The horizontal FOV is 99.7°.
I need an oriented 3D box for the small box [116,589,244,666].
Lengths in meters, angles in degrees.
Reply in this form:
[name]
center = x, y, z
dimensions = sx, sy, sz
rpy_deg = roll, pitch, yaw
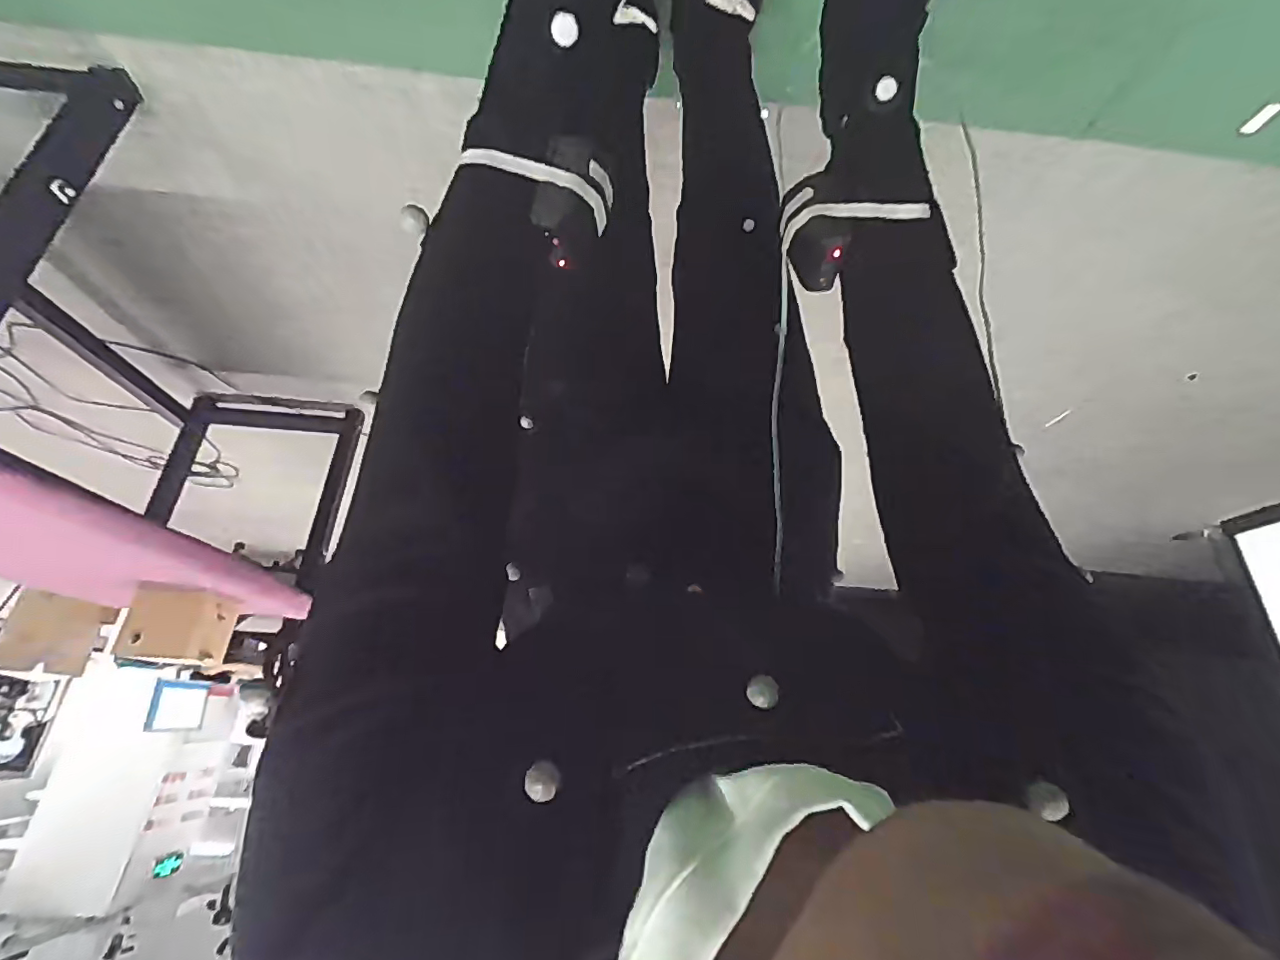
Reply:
[small box]
center = -1.216, 0.394, 1.446
dimensions = 0.179, 0.176, 0.168
rpy_deg = 5, 155, -4
